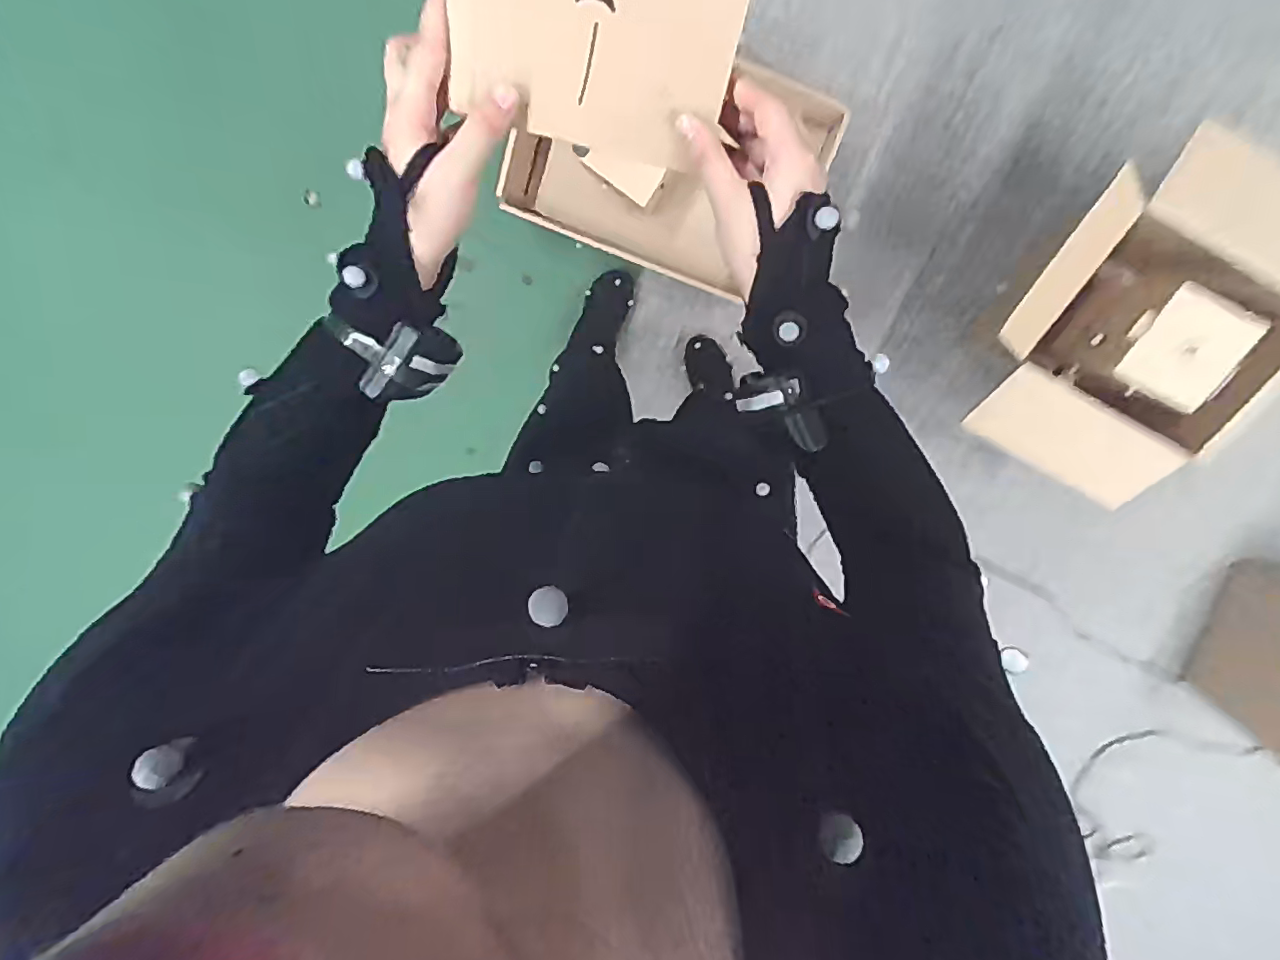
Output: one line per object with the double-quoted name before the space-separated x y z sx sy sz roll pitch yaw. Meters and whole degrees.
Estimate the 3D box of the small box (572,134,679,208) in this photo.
"small box" -0.013 -0.692 1.126 0.179 0.176 0.168 33 109 -7

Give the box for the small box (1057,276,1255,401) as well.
"small box" 0.964 -0.274 1.034 0.179 0.176 0.168 25 112 -4

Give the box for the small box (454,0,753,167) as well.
"small box" -0.018 -0.333 0.357 0.168 0.176 0.179 9 125 -8
